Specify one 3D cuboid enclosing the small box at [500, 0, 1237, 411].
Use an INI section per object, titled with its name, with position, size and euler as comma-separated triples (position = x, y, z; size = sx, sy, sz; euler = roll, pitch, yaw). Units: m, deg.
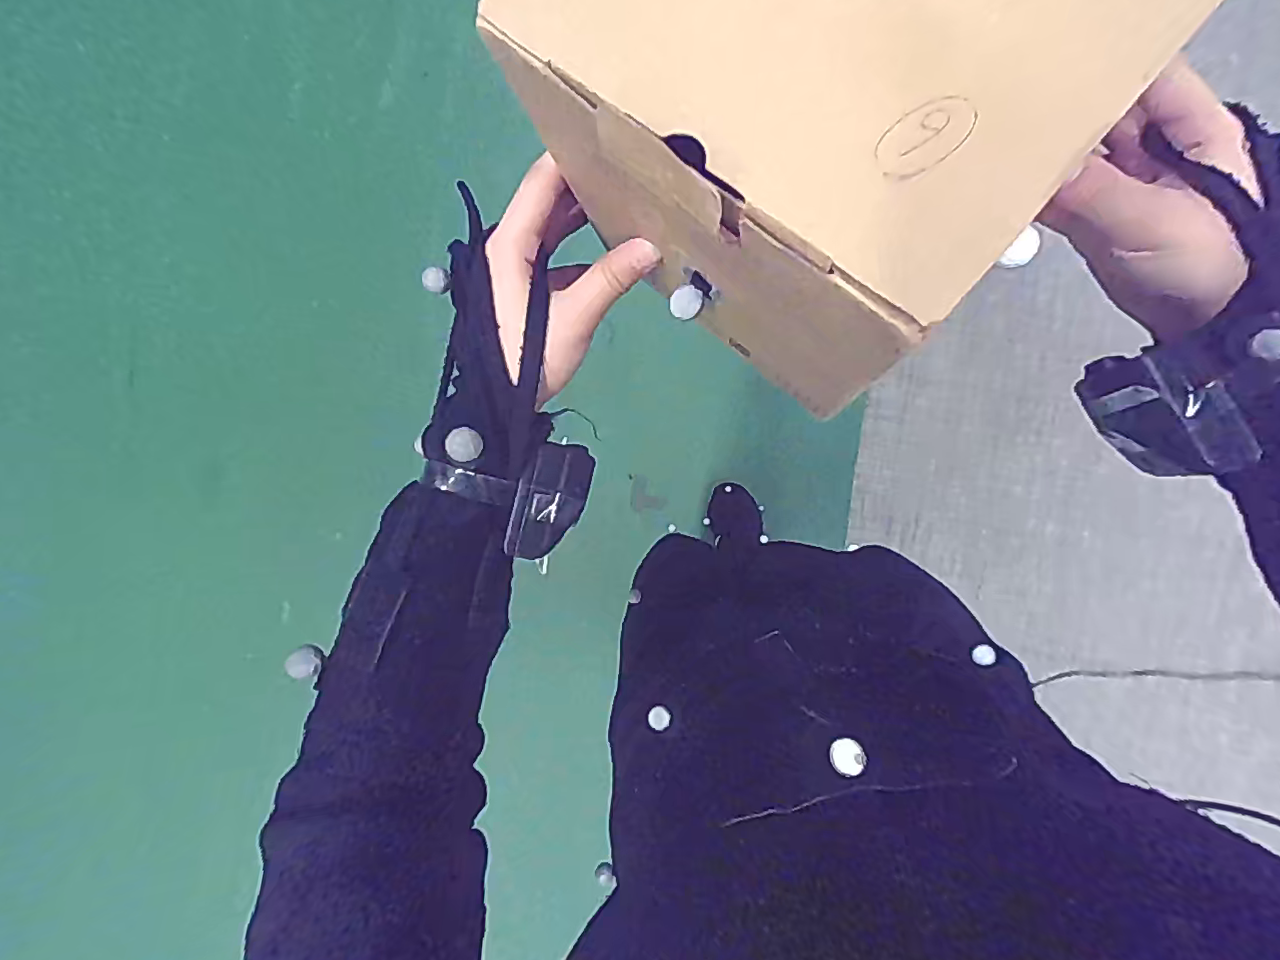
[small box]
position = 0.084, -0.148, 0.226
size = 0.168, 0.176, 0.179
euler = 42, 97, 9
